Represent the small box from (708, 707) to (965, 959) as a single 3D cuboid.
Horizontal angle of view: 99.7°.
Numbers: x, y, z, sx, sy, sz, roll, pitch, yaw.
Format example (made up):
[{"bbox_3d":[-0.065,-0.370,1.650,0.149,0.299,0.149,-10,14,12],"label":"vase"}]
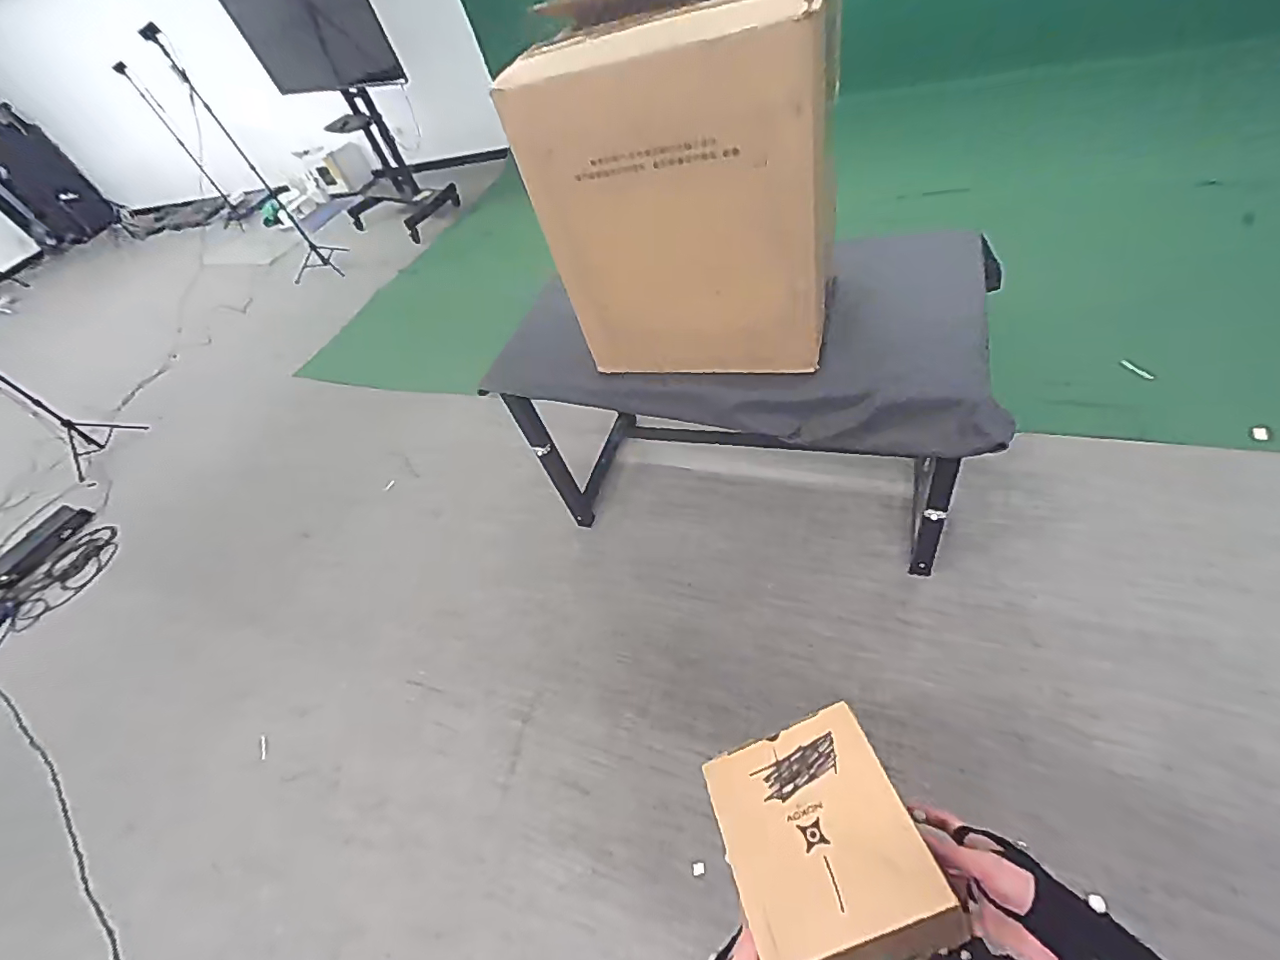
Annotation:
[{"bbox_3d":[0.191,0.369,0.540,0.168,0.176,0.179,-28,39,7],"label":"small box"}]
